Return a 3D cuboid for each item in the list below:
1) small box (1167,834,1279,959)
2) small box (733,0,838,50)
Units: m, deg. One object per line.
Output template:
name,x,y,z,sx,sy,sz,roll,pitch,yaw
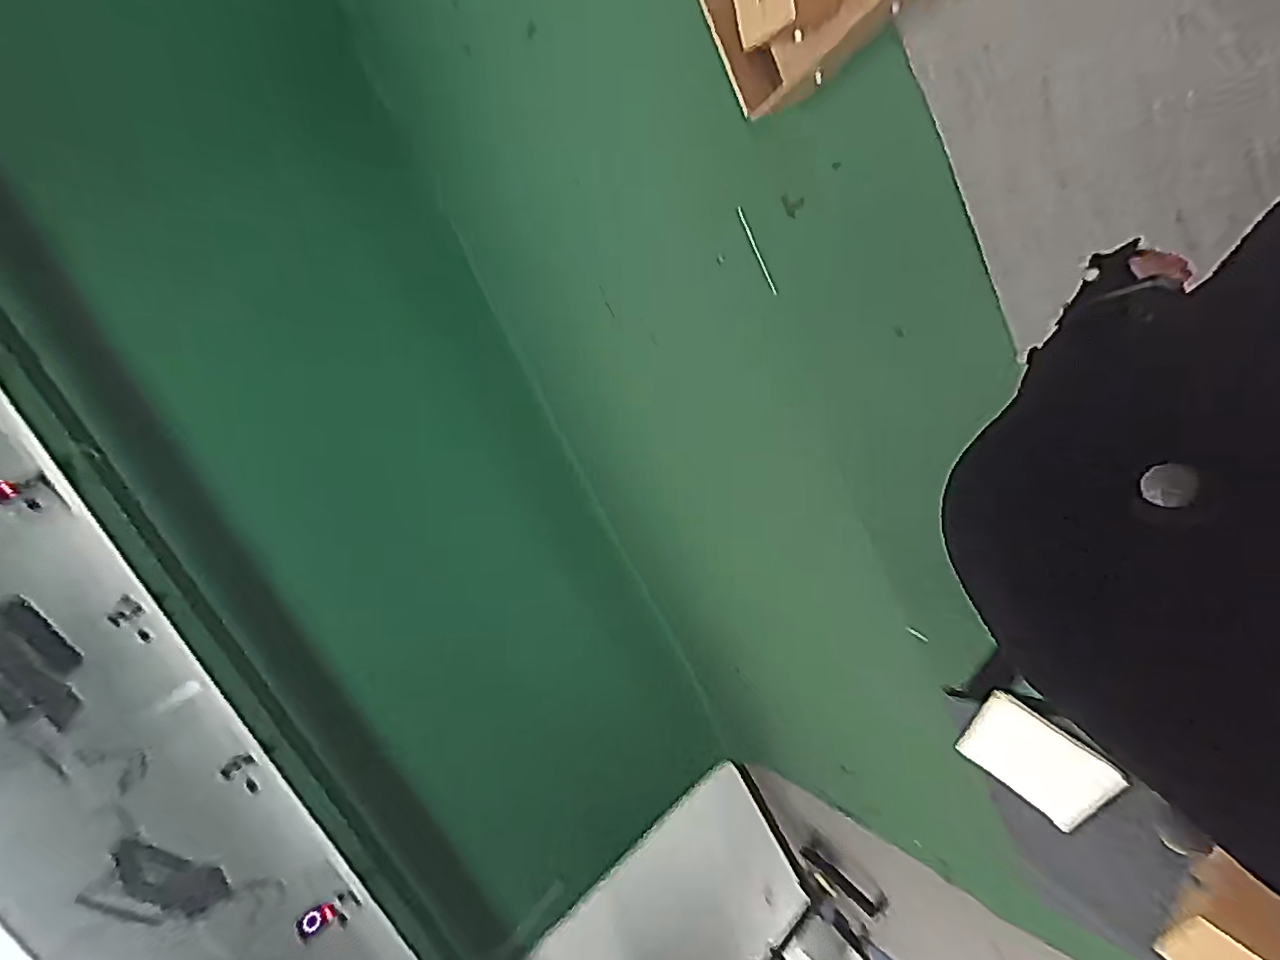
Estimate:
small box,0.871,0.618,0.721,0.179,0.176,0.168,29,143,43
small box,0.336,-1.149,1.263,0.168,0.176,0.179,16,132,53
